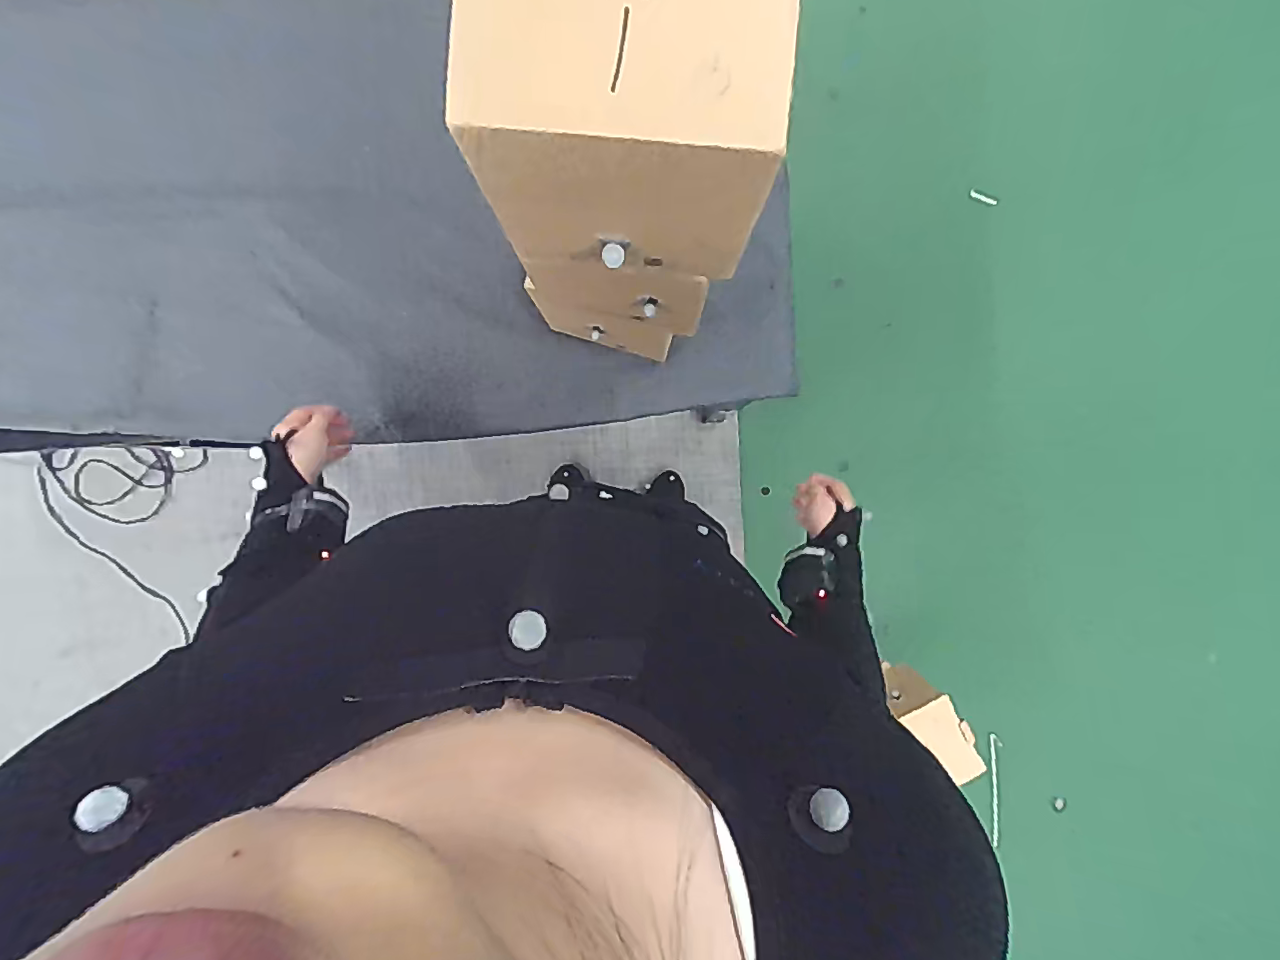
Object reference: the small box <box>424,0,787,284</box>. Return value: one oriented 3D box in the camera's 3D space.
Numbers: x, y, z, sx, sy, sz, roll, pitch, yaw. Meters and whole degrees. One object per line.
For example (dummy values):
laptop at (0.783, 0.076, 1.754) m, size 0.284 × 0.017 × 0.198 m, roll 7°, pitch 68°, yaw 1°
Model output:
small box at (-0.011, -0.241, 0.331) m, size 0.168 × 0.176 × 0.179 m, roll 5°, pitch 92°, yaw 1°

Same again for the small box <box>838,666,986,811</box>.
small box at (0.529, 0.501, 1.077) m, size 0.179 × 0.176 × 0.168 m, roll -29°, pitch 91°, yaw 2°

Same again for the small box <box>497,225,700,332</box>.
small box at (-0.014, -0.251, 0.495) m, size 0.168 × 0.176 × 0.179 m, roll 11°, pitch 90°, yaw 0°

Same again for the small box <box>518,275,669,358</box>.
small box at (-0.029, -0.263, 0.657) m, size 0.168 × 0.176 × 0.179 m, roll 16°, pitch 90°, yaw 1°
